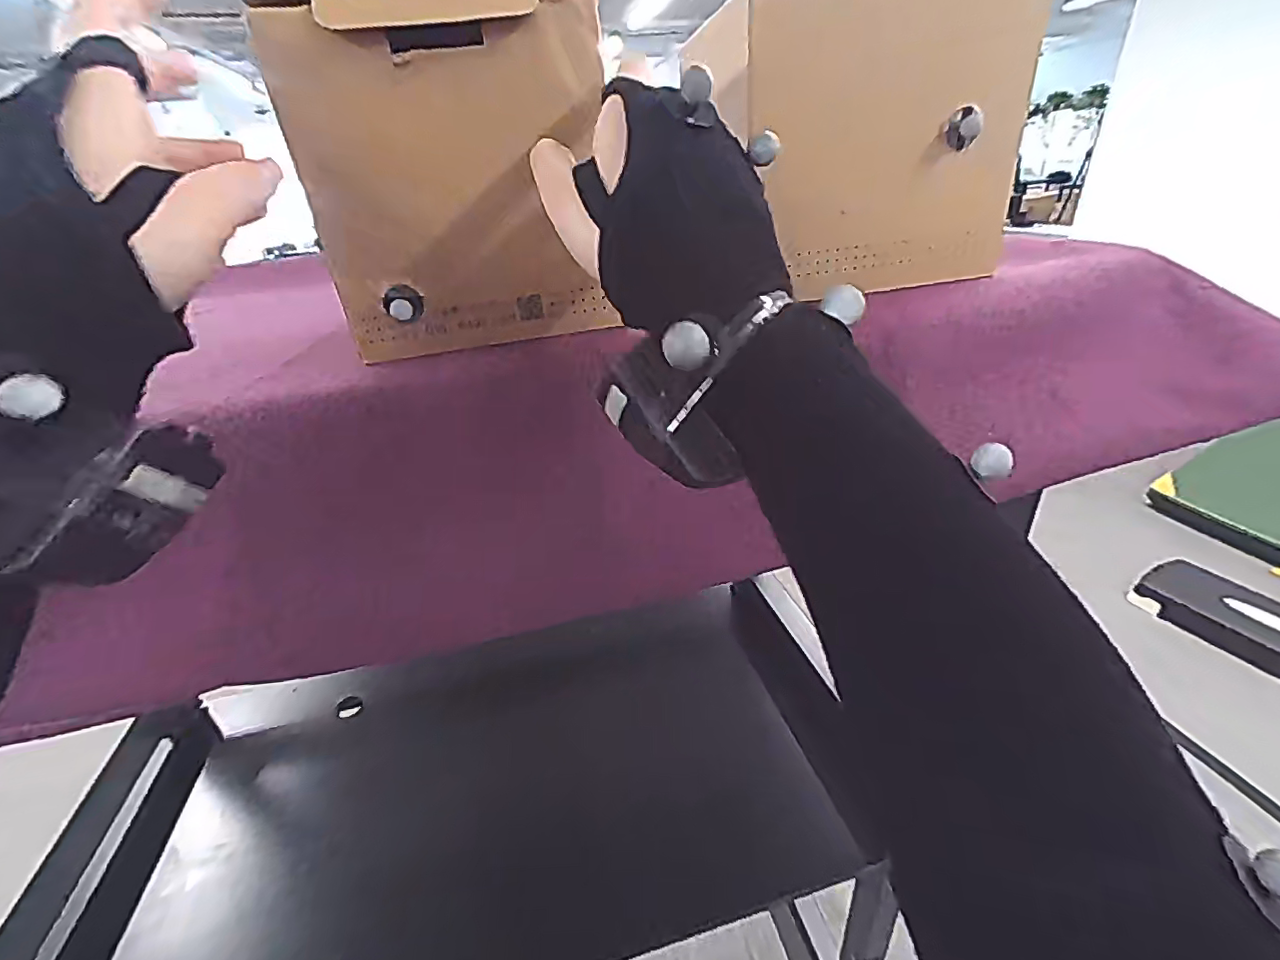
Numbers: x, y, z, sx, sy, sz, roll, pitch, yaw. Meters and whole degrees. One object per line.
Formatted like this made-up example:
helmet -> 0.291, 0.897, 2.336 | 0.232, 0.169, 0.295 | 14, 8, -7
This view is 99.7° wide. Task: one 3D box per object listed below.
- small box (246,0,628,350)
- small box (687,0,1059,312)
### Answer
small box -> -0.109, -0.192, 0.362 | 0.168, 0.176, 0.179 | -11, 29, -10
small box -> 0.138, -0.229, 0.387 | 0.179, 0.176, 0.168 | -10, 29, -5
